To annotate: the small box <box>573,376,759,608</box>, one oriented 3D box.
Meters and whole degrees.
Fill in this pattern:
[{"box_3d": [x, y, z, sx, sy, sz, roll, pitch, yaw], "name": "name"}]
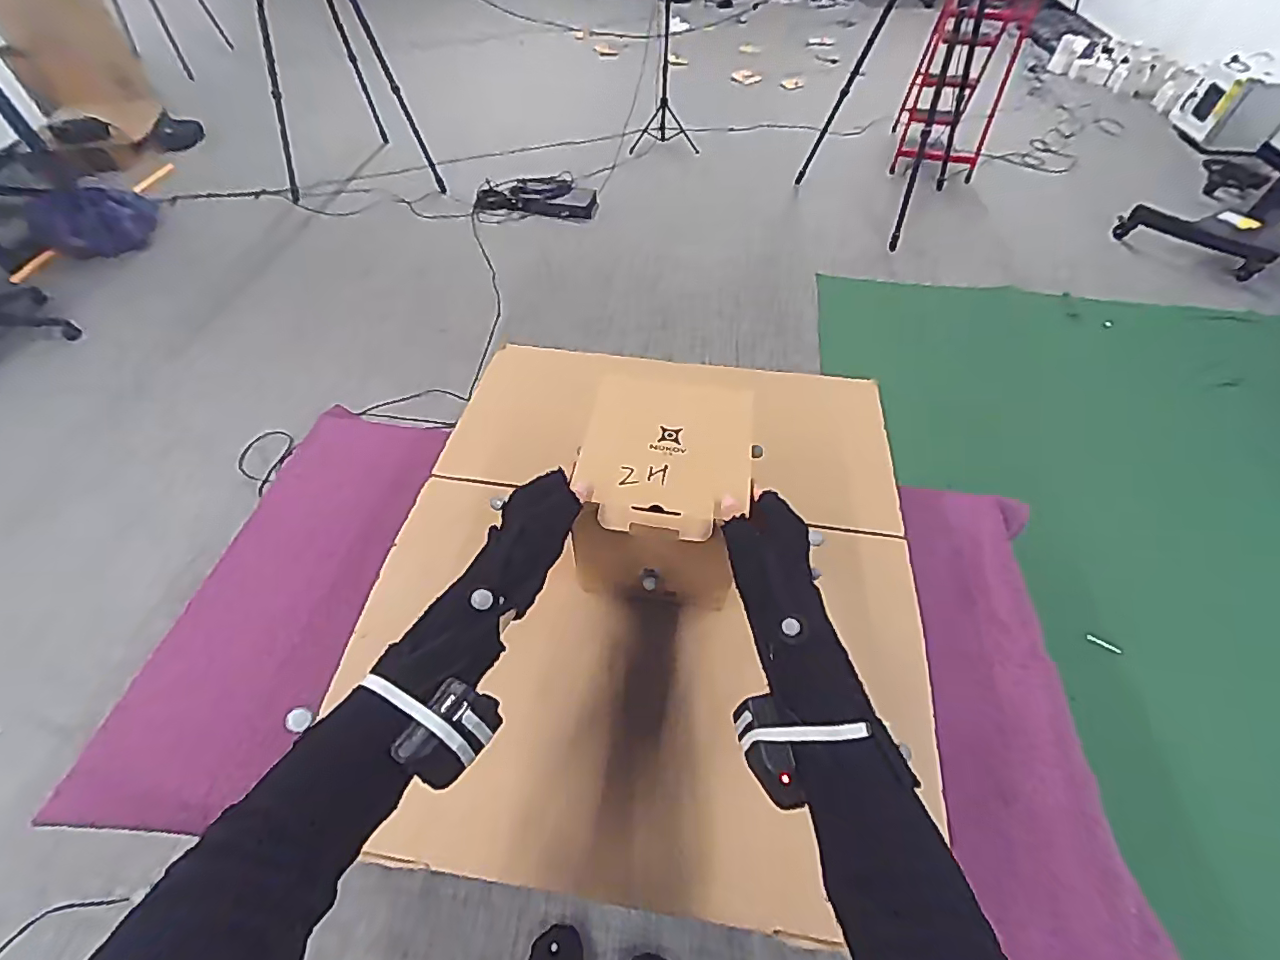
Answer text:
[{"box_3d": [0.030, 0.014, 0.592, 0.168, 0.176, 0.179, 8, 51, 5], "name": "small box"}]
